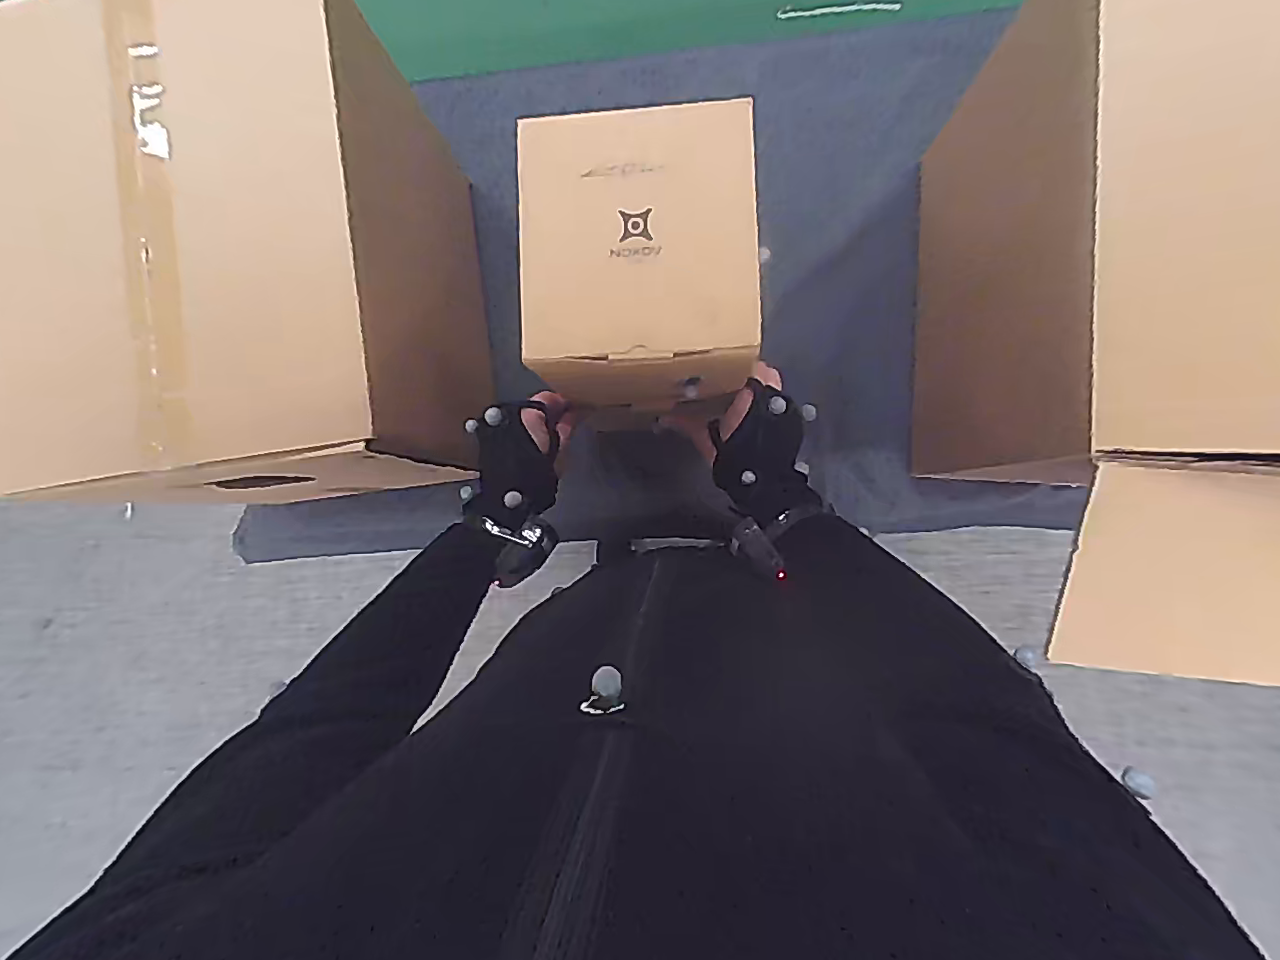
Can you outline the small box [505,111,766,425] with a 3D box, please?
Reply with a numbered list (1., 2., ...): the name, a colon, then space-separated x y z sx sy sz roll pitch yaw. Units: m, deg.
1. small box: 0.002 -0.140 0.424 0.168 0.176 0.179 -3 87 4
